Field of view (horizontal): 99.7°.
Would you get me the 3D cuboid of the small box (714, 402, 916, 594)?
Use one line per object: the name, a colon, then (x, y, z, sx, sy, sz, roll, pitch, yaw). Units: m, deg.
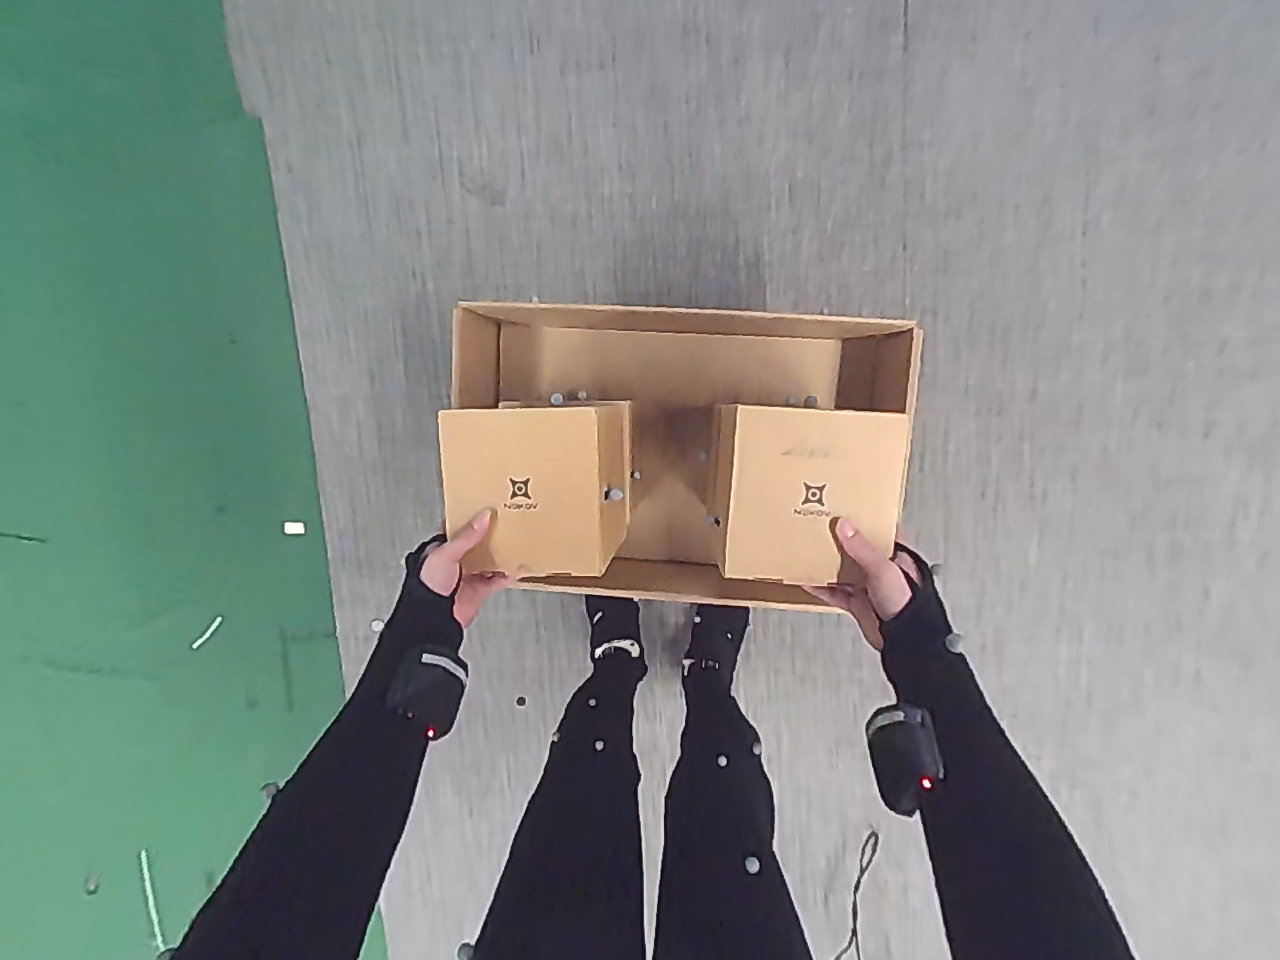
small box: (0.175, 0.009, 0.597, 0.168, 0.176, 0.179, 5, 96, 2)

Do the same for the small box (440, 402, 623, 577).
small box: (-0.112, 0.000, 0.620, 0.168, 0.176, 0.179, 0, 99, 5)

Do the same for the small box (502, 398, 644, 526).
small box: (-0.089, -0.032, 0.784, 0.179, 0.176, 0.168, 1, 97, 4)
